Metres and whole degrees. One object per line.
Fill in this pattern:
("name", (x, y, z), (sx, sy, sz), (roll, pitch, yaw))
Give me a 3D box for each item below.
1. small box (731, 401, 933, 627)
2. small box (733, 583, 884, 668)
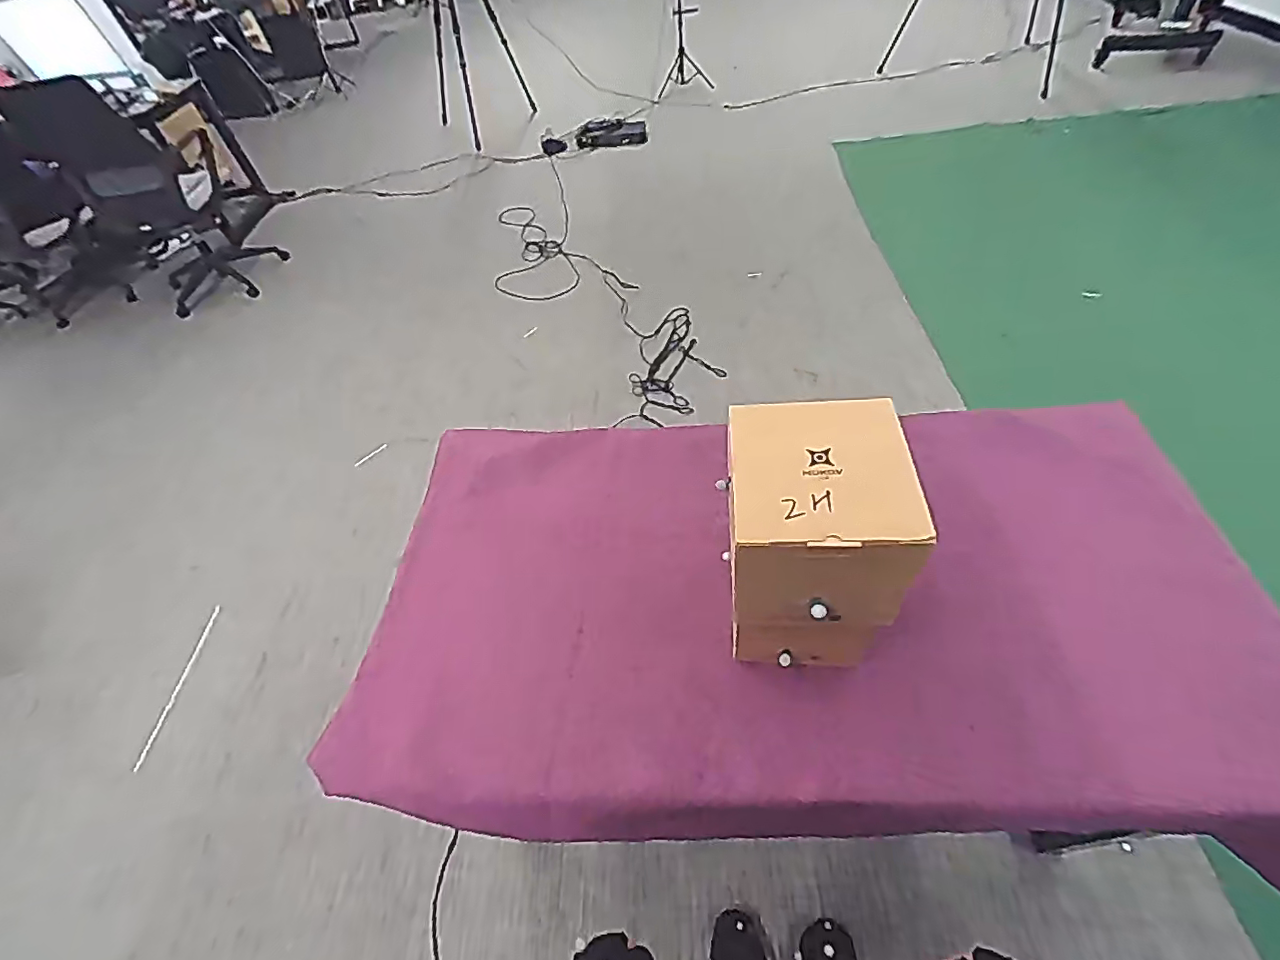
("small box", (0.182, 0.038, 0.576), (0.168, 0.176, 0.179), (-2, 51, 9))
("small box", (0.208, 0.128, 0.711), (0.168, 0.176, 0.179), (0, 52, 10))
